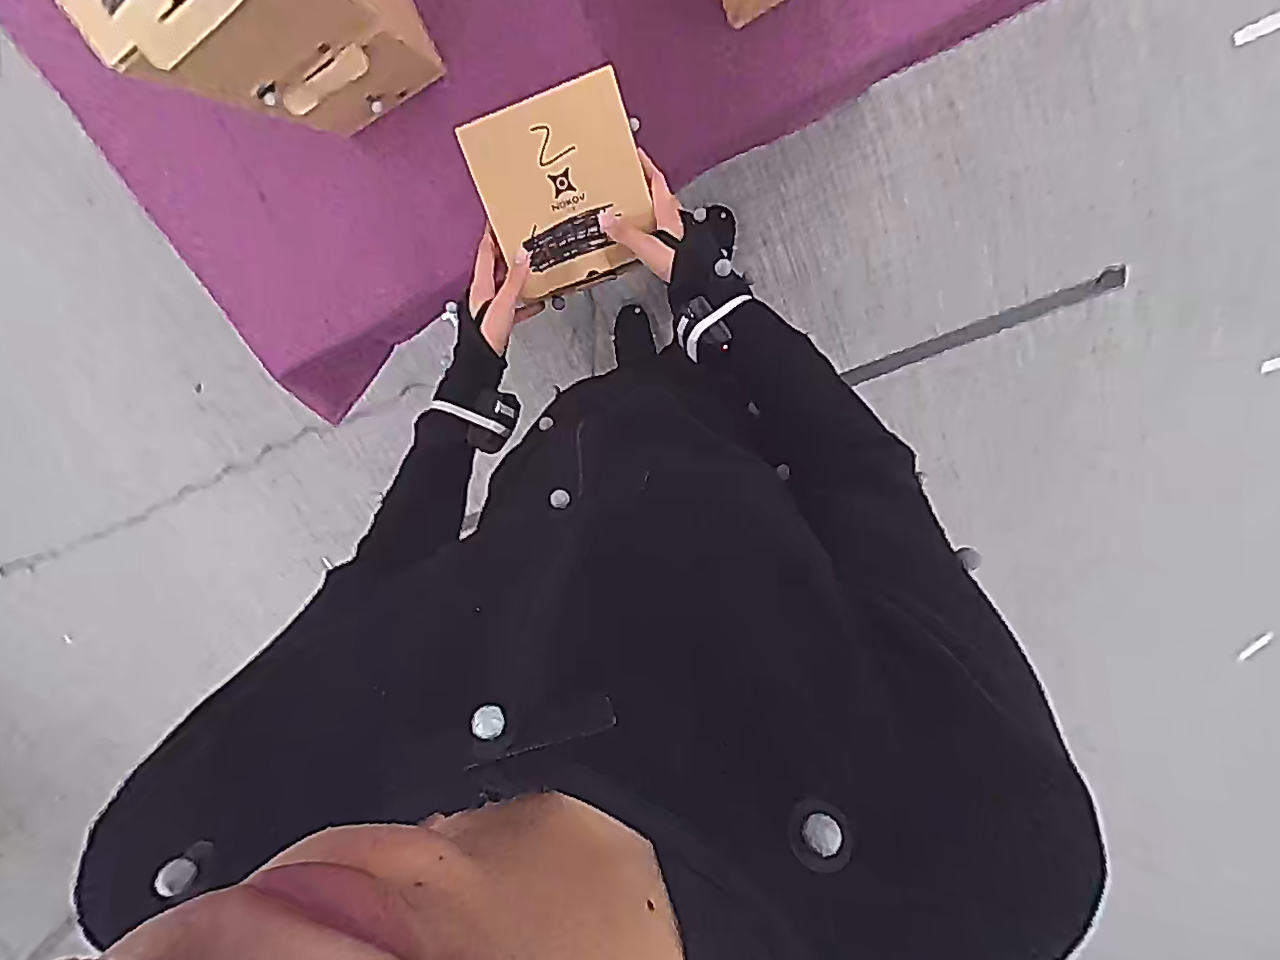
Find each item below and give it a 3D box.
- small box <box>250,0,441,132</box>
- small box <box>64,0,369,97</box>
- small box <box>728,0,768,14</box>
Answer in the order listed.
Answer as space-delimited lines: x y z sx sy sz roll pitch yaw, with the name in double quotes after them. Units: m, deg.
-0.356 -0.520 0.591 0.168 0.176 0.179 -22 111 14 "small box"
-0.369 -0.452 0.442 0.168 0.176 0.179 -26 109 15 "small box"
0.139 -0.611 0.516 0.168 0.176 0.179 -23 111 14 "small box"
